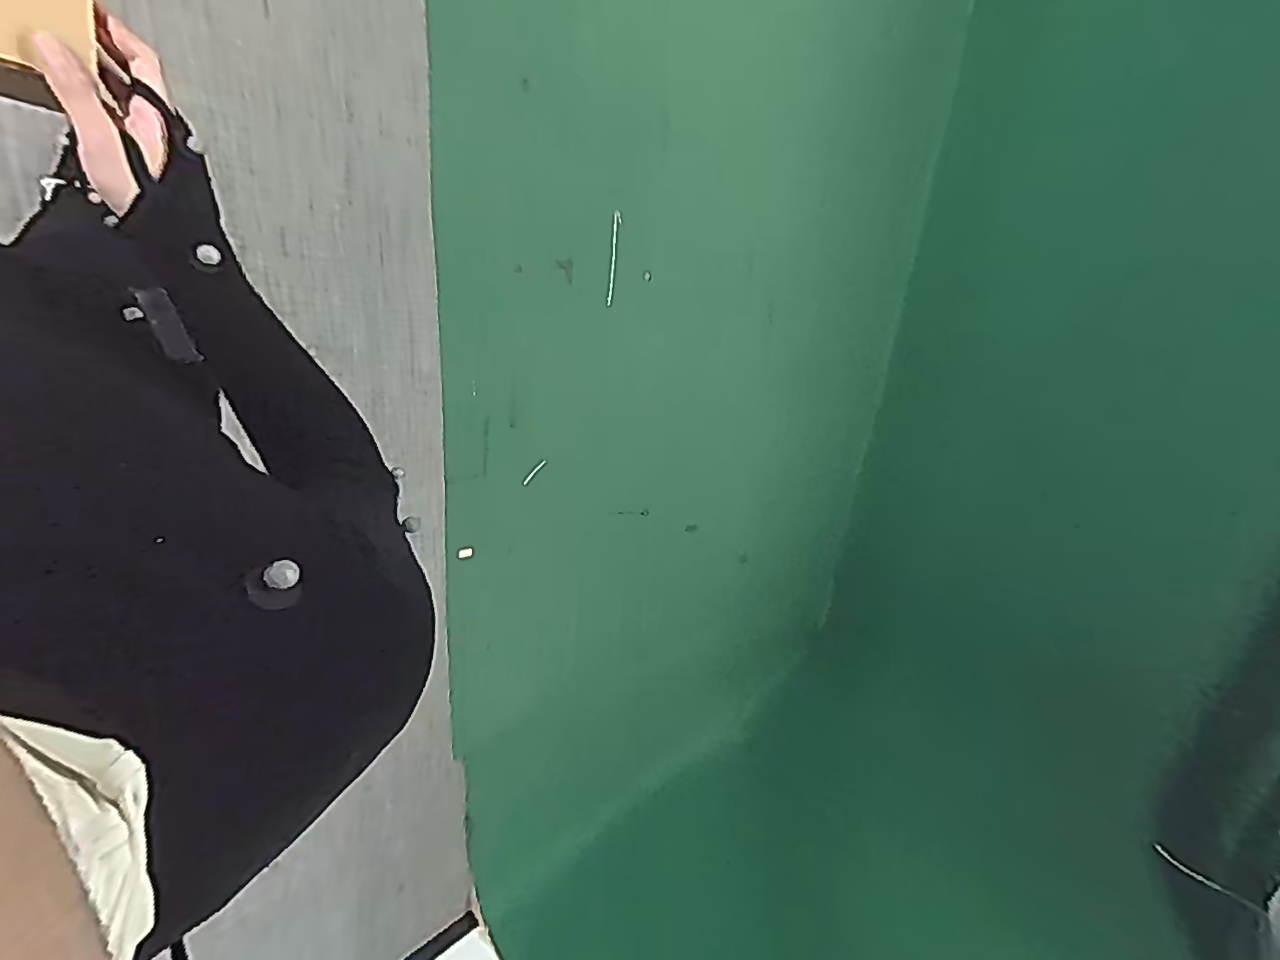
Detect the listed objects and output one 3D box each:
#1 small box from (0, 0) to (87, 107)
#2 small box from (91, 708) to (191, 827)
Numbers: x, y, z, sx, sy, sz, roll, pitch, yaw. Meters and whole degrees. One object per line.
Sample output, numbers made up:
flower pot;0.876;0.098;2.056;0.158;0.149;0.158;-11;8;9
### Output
small box;-0.491;-0.384;0.357;0.168;0.176;0.179;-5;112;-45
small box;-1.244;0.700;1.349;0.168;0.176;0.179;-9;115;-41
